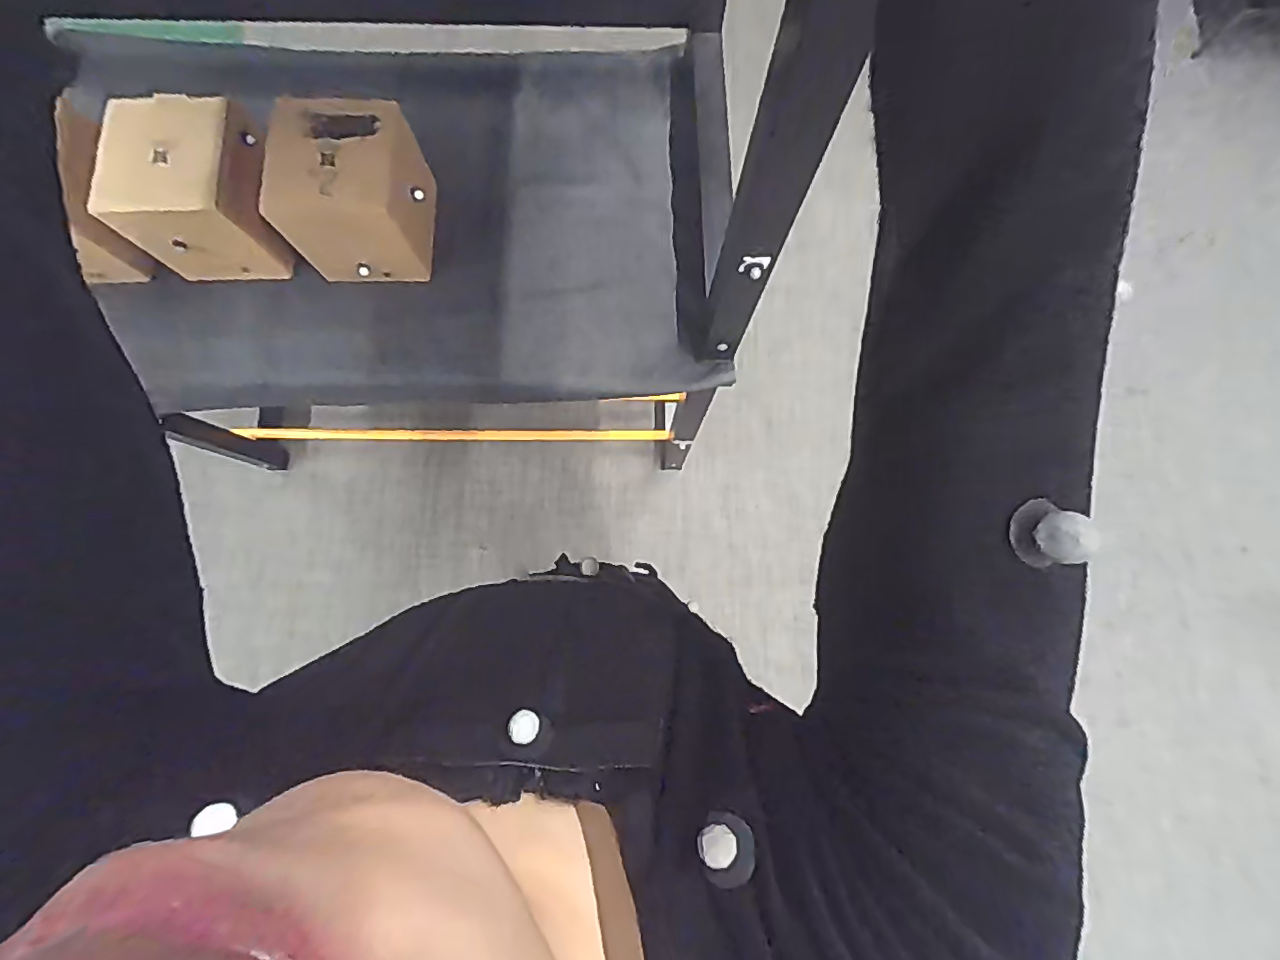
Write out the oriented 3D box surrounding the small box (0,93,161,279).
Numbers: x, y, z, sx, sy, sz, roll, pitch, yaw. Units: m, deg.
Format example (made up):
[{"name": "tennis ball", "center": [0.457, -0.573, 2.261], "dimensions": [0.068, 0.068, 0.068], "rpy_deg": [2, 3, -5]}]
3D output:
[{"name": "small box", "center": [-0.850, -0.416, 0.783], "dimensions": [0.168, 0.176, 0.179], "rpy_deg": [-3, 80, -2]}]
